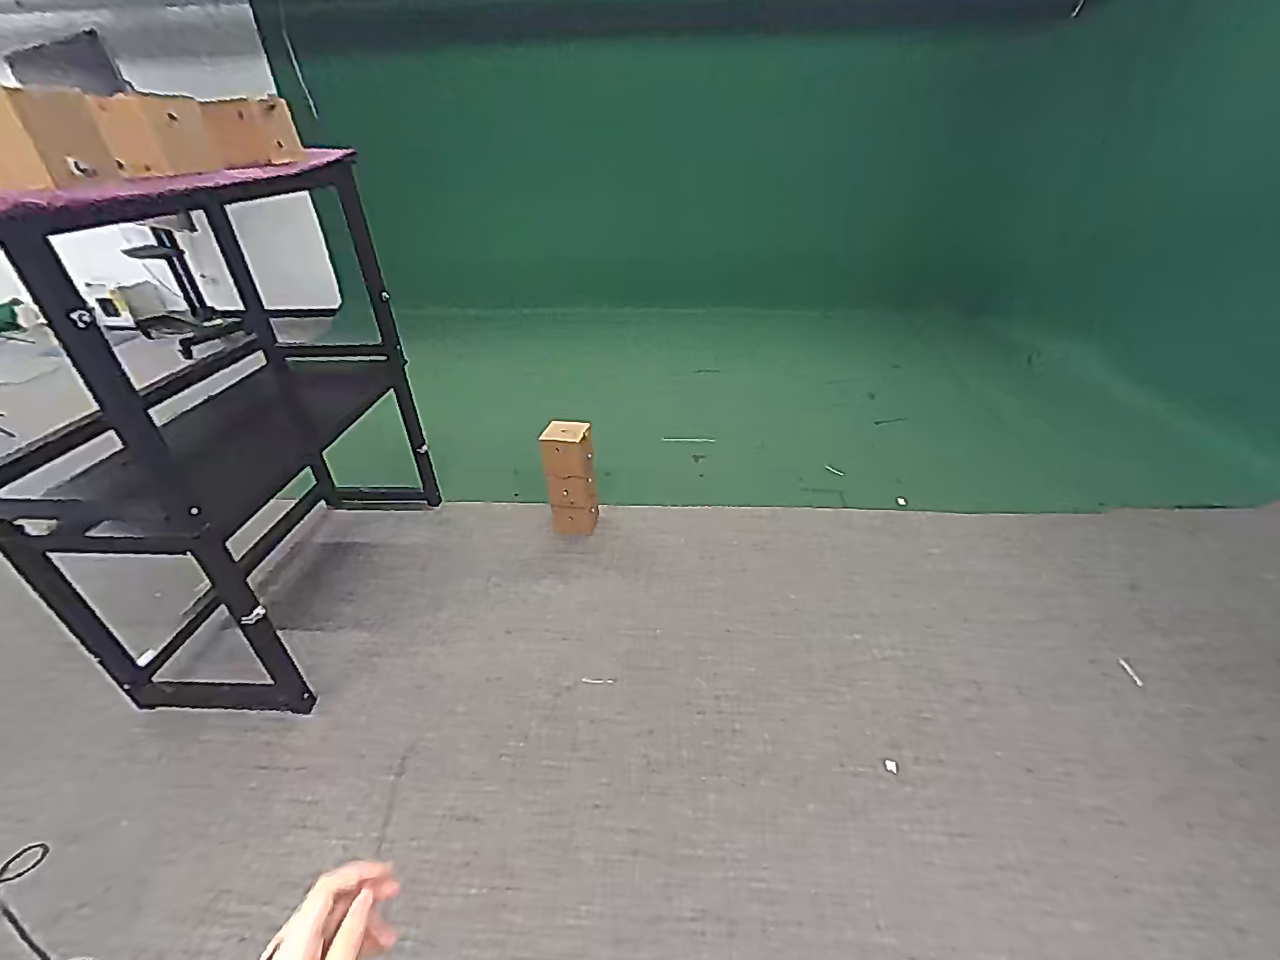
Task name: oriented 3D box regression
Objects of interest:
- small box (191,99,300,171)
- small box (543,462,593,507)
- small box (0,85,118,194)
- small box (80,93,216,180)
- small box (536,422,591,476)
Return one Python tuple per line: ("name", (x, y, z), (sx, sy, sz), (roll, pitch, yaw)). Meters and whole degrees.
("small box", (-1.187, -1.045, 1.641), (0.179, 0.176, 0.168), (0, 34, 7))
("small box", (-0.309, 0.003, 2.365), (0.168, 0.176, 0.179), (4, 34, 10))
("small box", (-1.198, -0.655, 1.048), (0.179, 0.176, 0.168), (0, 34, 0))
("small box", (-1.215, -0.847, 1.341), (0.168, 0.176, 0.179), (0, 32, 5))
("small box", (-0.315, -0.129, 2.263), (0.179, 0.176, 0.168), (5, 34, 12))
